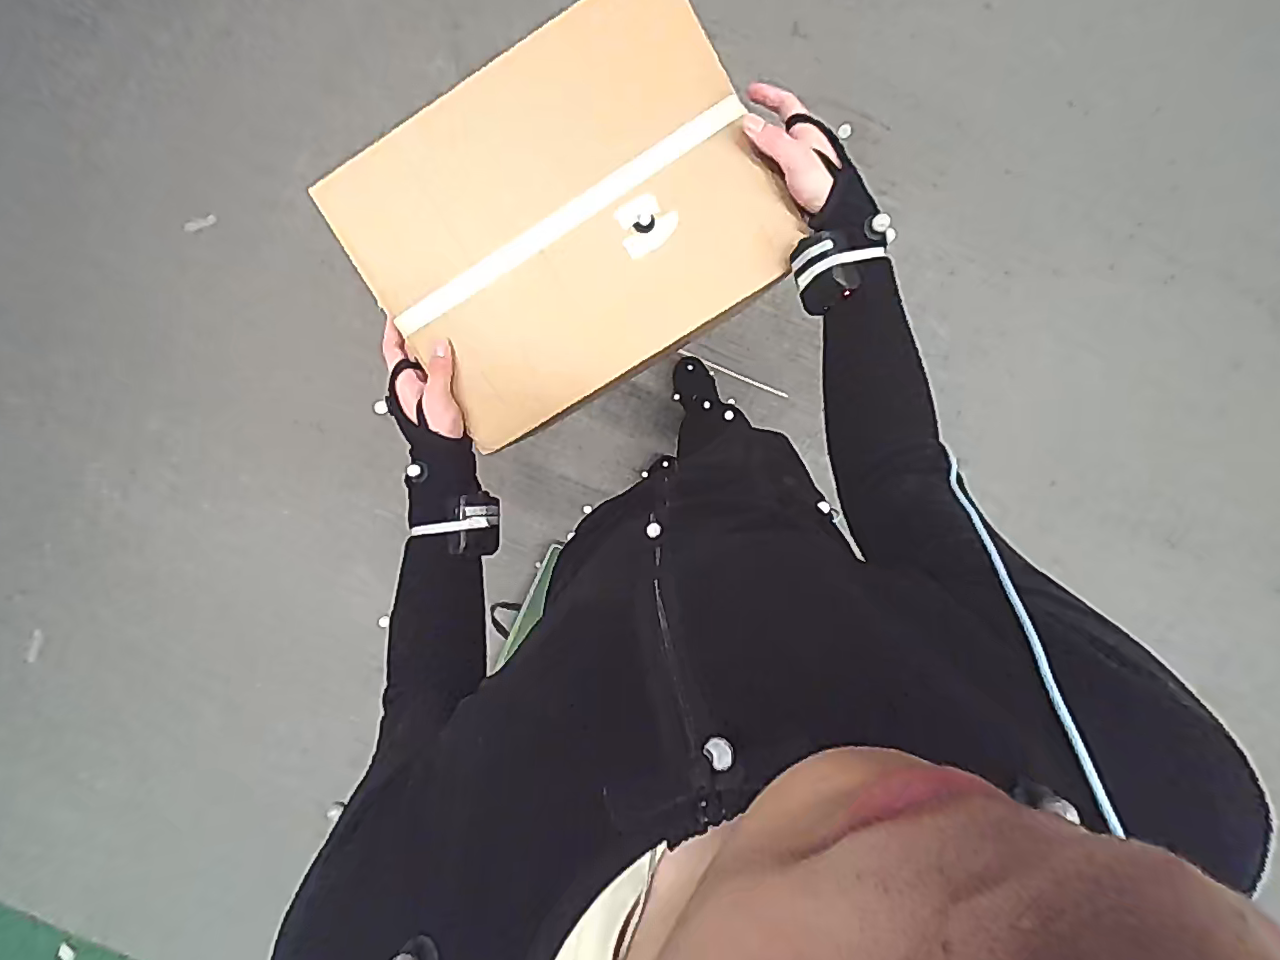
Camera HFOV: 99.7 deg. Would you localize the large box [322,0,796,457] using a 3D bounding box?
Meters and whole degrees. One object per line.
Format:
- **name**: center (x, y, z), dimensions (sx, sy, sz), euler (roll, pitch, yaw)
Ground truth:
- **large box**: center (-0.084, -0.275, 0.701), dimensions (0.408, 0.320, 0.320), euler (-32, 98, 4)
